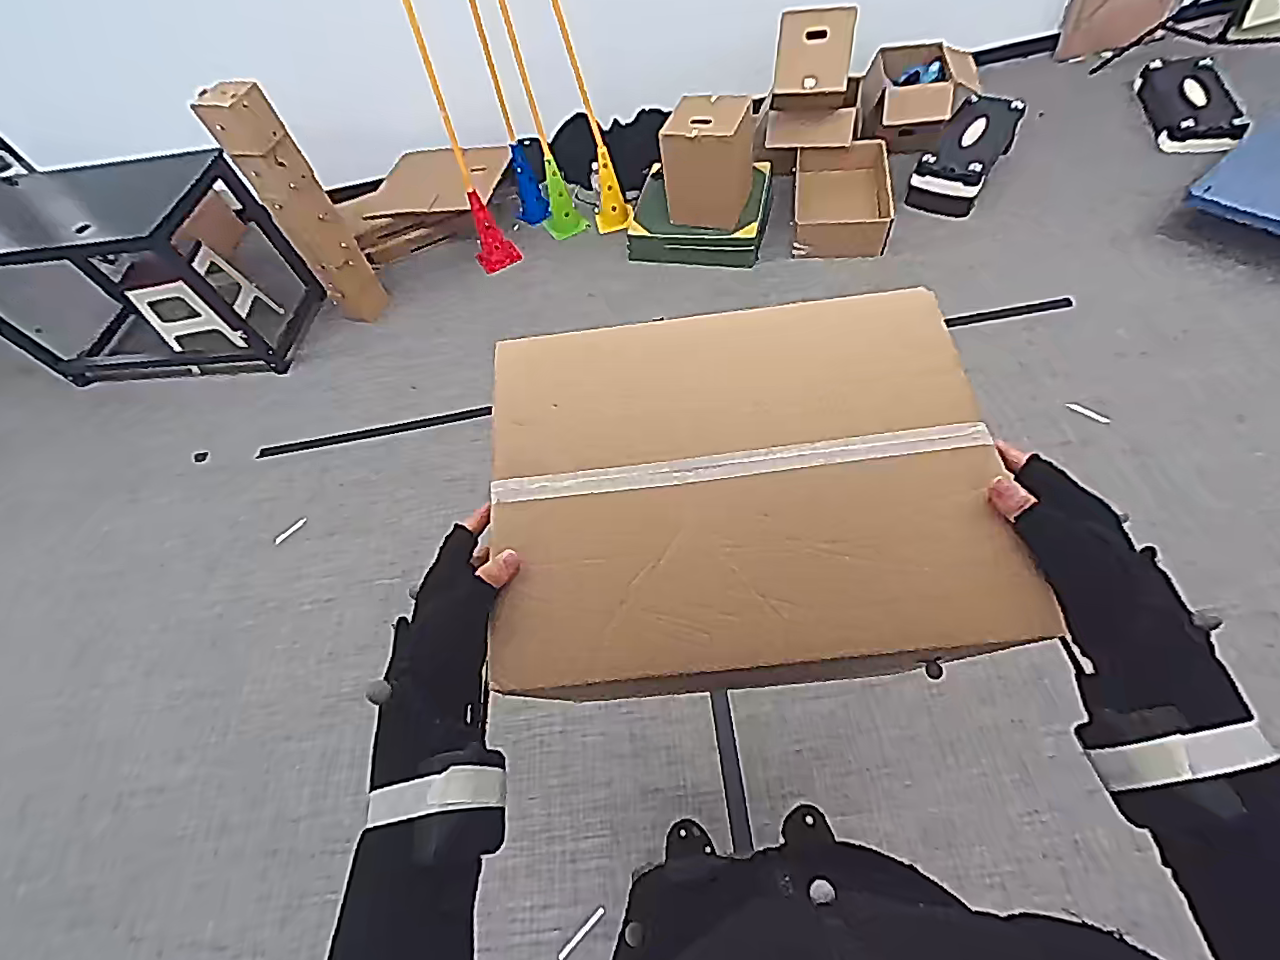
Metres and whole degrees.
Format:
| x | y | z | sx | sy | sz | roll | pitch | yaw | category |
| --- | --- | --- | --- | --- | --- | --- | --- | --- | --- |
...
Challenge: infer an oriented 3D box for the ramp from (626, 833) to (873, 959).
| x | y | z | sx | sy | sz | roll | pitch | yaw | category |
| --- | --- | --- | --- | --- | --- | --- | --- | --- | --- |
| 0.272 | 1.271 | 1.013 | 0.509 | 0.206 | 0.991 | -10 | 58 | 1 | ramp |

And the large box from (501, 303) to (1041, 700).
| x | y | z | sx | sy | sz | roll | pitch | yaw | category |
| --- | --- | --- | --- | --- | --- | --- | --- | --- | --- |
| 0.093 | 0.054 | 0.588 | 0.408 | 0.320 | 0.320 | -6 | 66 | 2 | large box |
